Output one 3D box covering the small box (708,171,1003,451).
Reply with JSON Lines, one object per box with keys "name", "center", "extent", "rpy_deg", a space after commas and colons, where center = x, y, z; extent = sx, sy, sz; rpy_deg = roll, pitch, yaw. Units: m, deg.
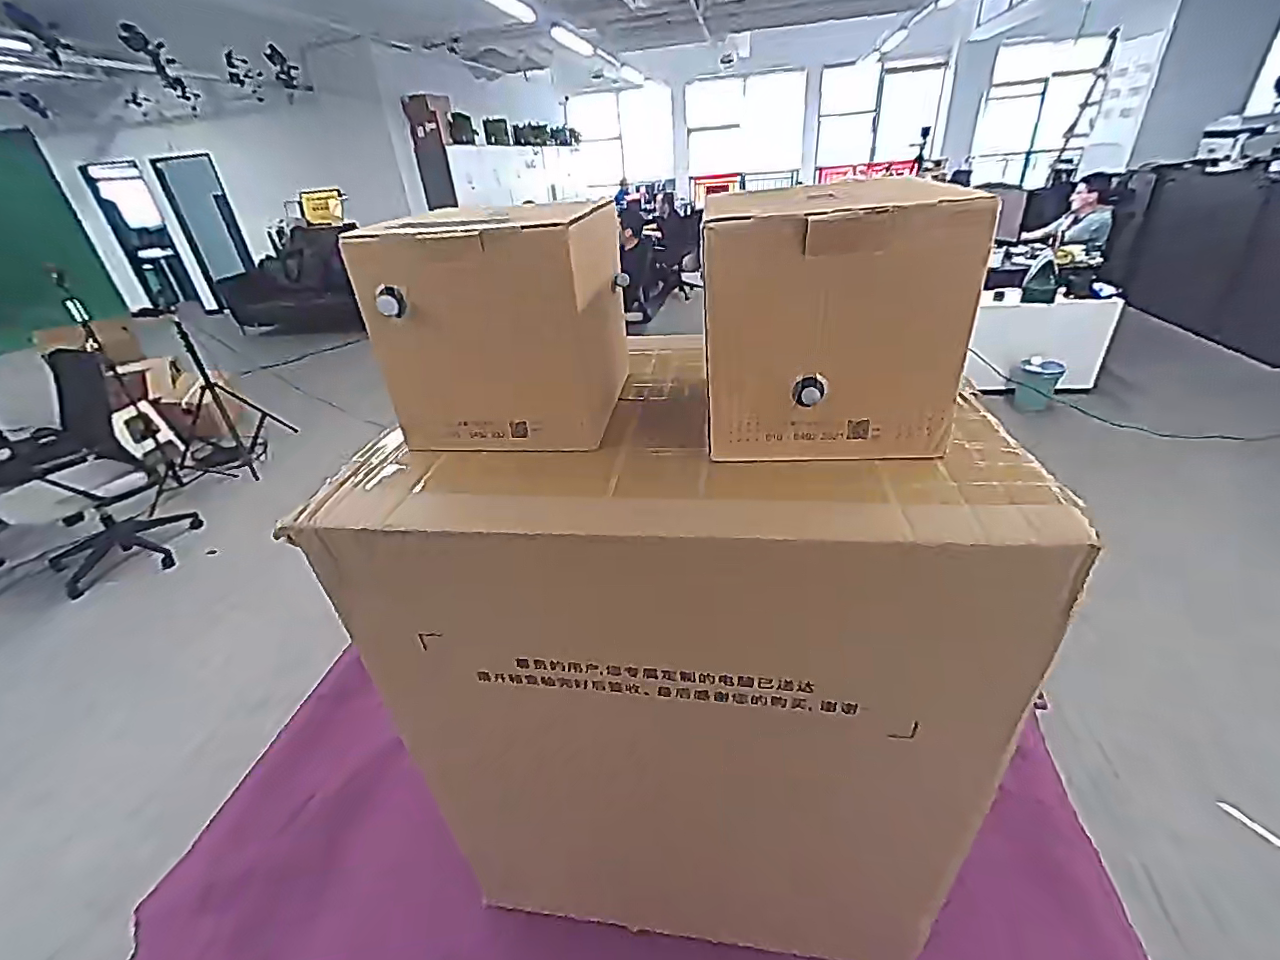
{"name": "small box", "center": [0.137, -0.135, 0.422], "extent": [0.168, 0.176, 0.179], "rpy_deg": [-1, 32, 8]}
